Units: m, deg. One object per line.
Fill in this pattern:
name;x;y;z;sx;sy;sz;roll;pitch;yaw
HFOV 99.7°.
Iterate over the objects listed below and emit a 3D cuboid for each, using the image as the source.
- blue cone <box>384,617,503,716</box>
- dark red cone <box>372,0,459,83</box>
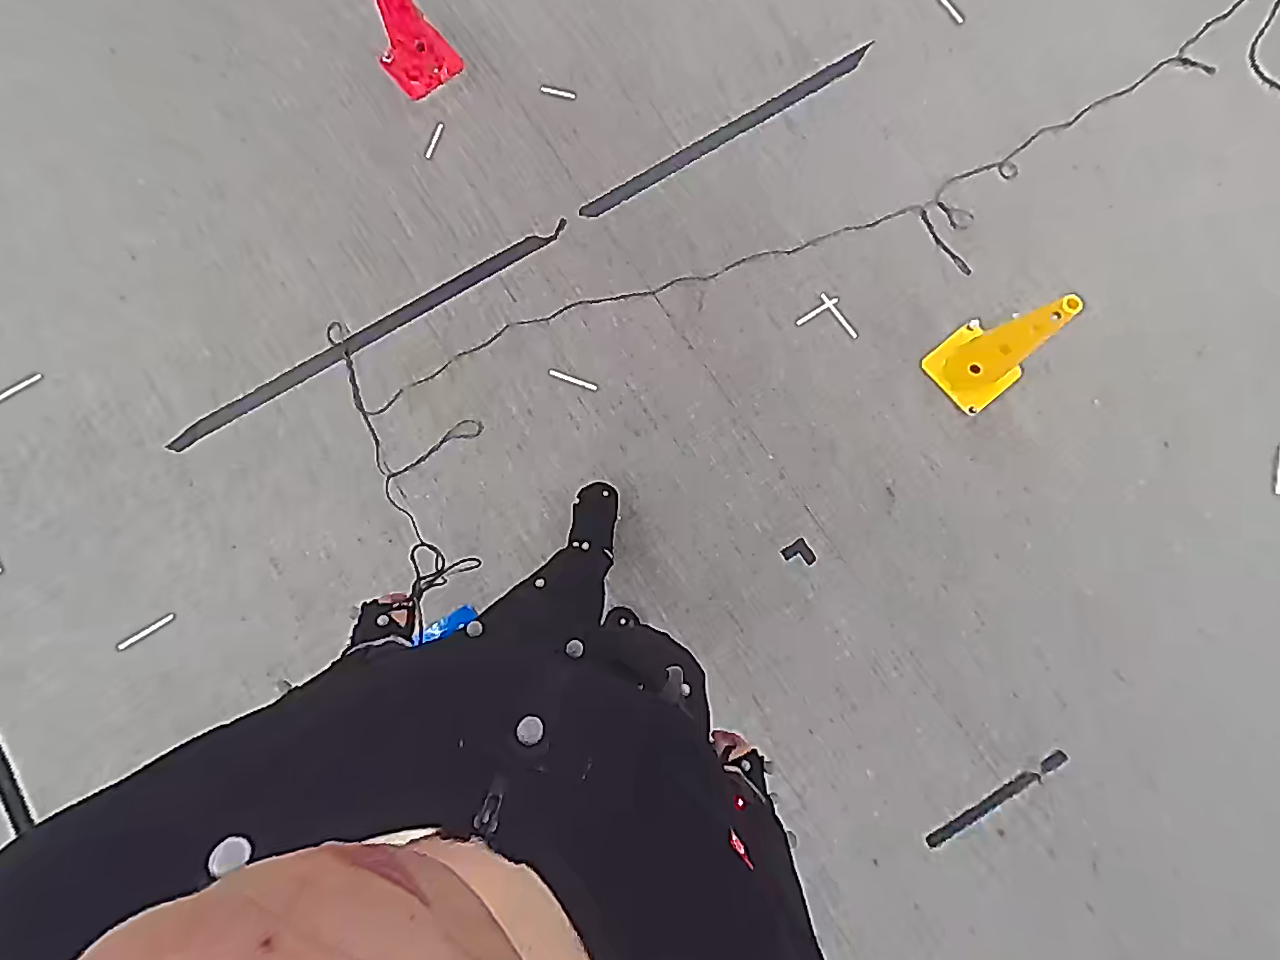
blue cone;-0.455;0.430;1.170;0.193;0.380;0.192;-31;83;-4
dark red cone;-0.660;-1.300;1.426;0.202;0.394;0.201;-40;83;-5
